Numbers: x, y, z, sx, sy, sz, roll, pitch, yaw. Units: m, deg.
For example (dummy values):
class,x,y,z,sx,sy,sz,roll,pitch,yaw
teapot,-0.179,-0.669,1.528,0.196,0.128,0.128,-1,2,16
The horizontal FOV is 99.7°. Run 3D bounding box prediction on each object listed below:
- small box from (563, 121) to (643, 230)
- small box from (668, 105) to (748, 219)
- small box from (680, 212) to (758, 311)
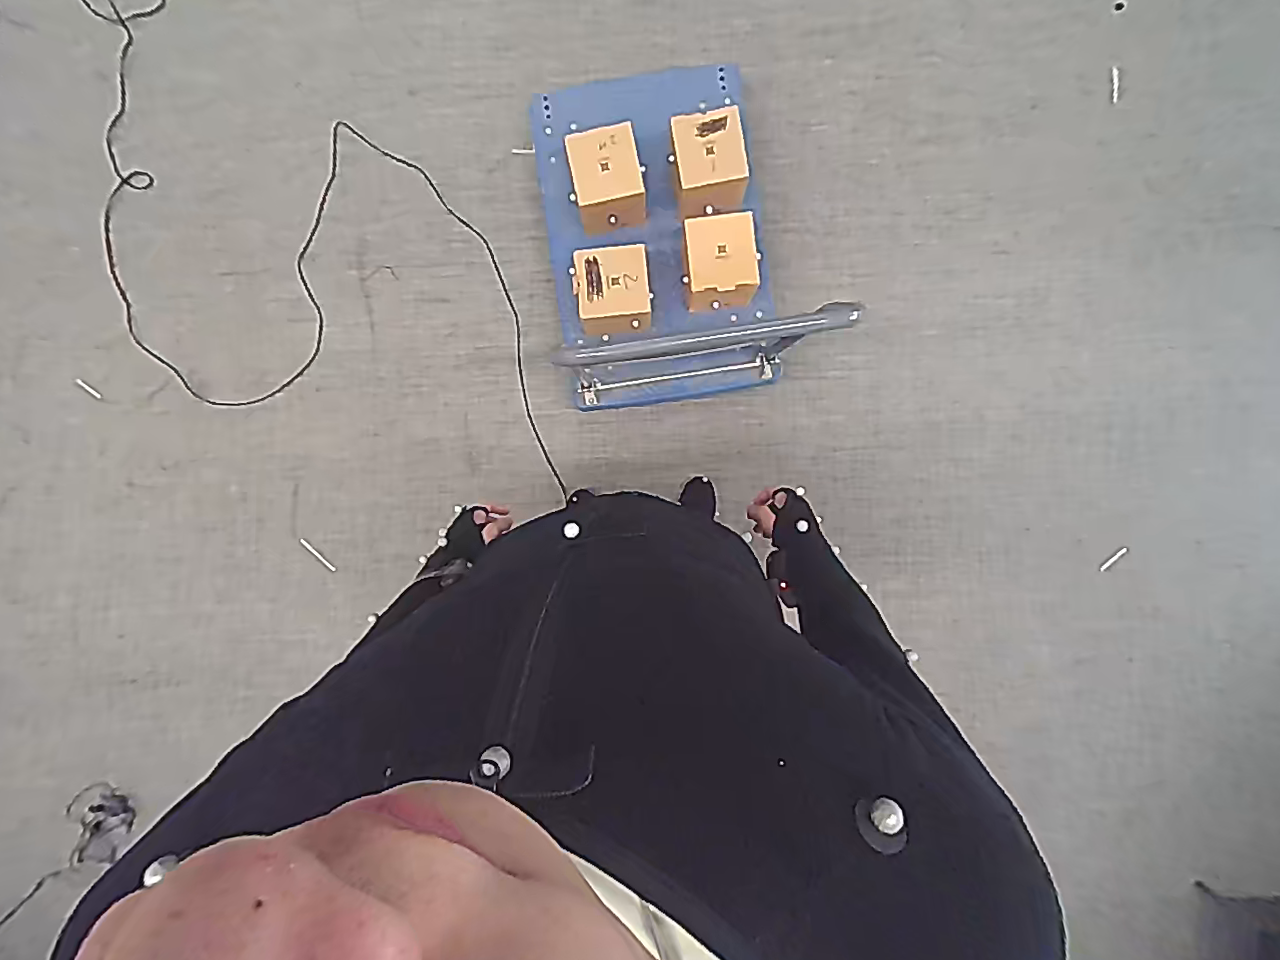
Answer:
class,x,y,z,sx,sy,sz,roll,pitch,yaw
small box,-0.087,-0.757,1.369,0.168,0.176,0.179,-12,91,0
small box,0.166,-0.795,1.365,0.168,0.176,0.179,-10,92,2
small box,0.195,-0.548,1.372,0.168,0.176,0.179,-7,90,1
